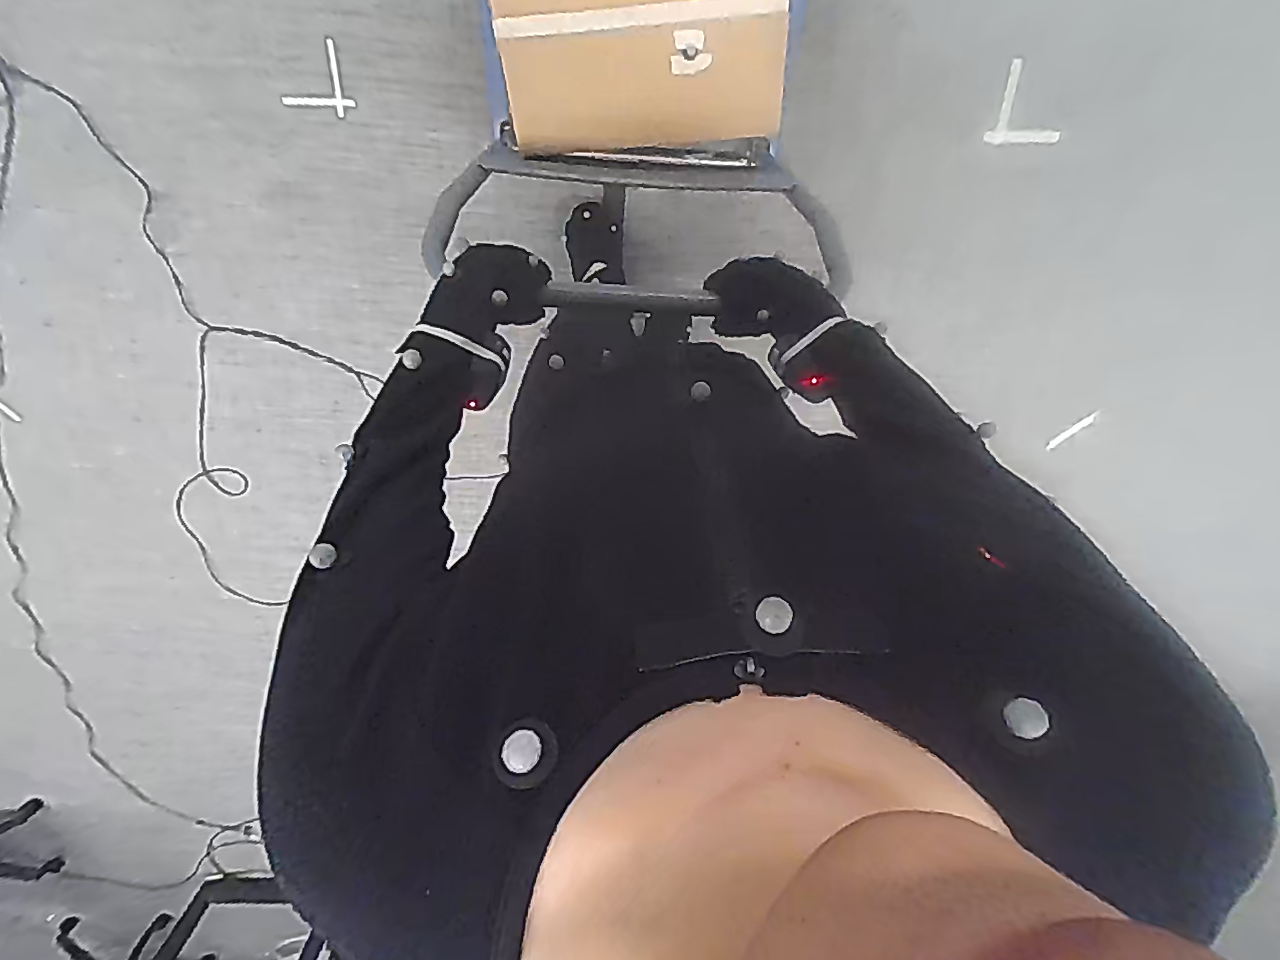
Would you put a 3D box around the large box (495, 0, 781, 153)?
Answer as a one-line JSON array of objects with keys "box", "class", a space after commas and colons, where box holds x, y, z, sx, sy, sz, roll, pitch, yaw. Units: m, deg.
[{"box": [-0.007, -0.743, 0.873, 0.408, 0.320, 0.320, -5, 128, 1], "class": "large box"}]
